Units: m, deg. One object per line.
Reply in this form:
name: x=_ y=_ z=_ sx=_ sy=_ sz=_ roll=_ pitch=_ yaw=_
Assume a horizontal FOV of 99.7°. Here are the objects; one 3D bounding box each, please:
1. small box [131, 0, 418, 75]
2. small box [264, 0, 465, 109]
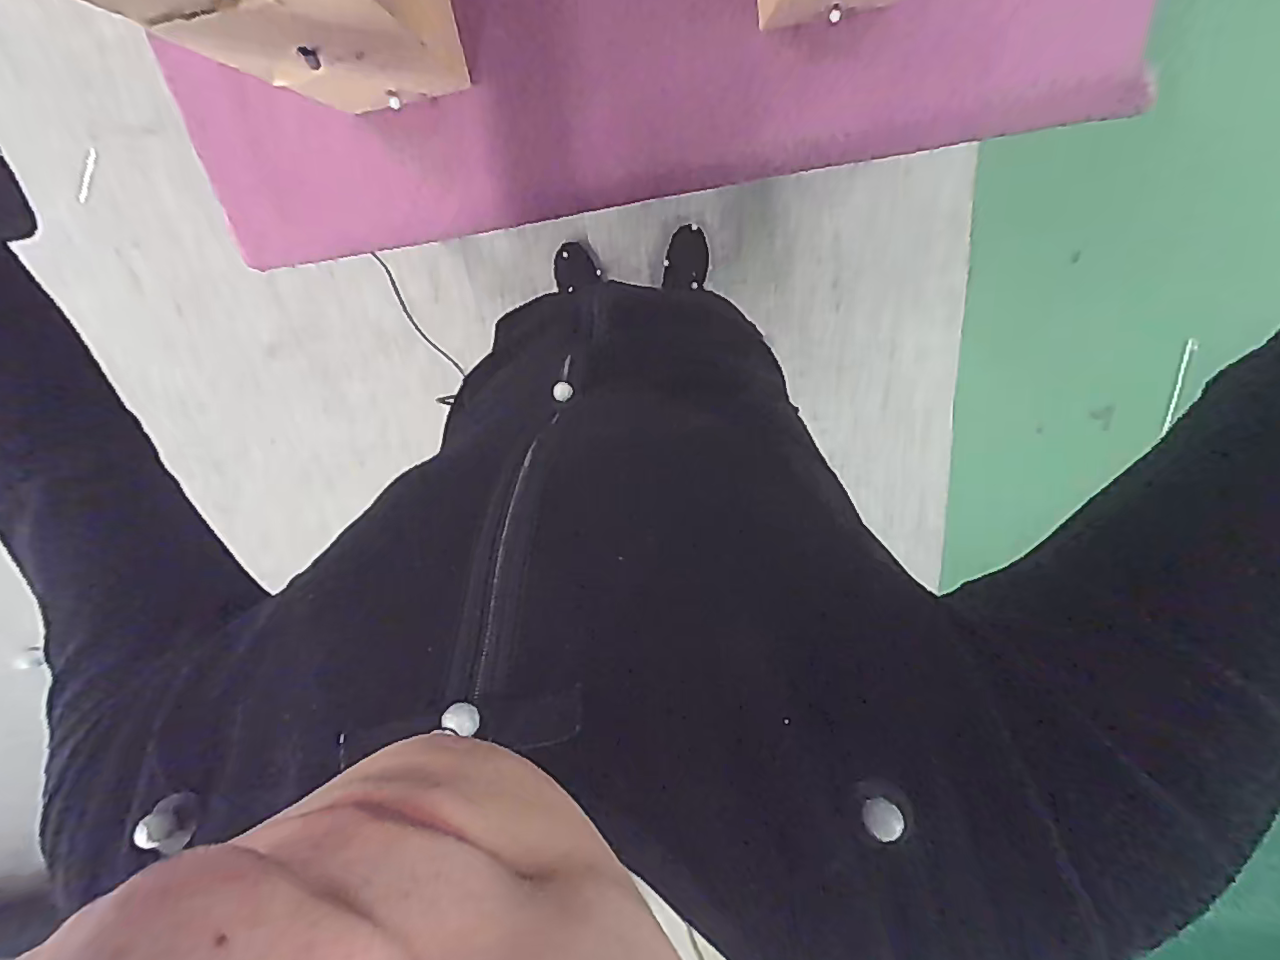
small box: x=-0.309 y=-0.464 z=0.434 sx=0.168 sy=0.176 sz=0.179 roll=-11 pitch=115 yaw=4
small box: x=-0.311 y=-0.532 z=0.581 sx=0.168 sy=0.176 sz=0.179 roll=-9 pitch=115 yaw=4
